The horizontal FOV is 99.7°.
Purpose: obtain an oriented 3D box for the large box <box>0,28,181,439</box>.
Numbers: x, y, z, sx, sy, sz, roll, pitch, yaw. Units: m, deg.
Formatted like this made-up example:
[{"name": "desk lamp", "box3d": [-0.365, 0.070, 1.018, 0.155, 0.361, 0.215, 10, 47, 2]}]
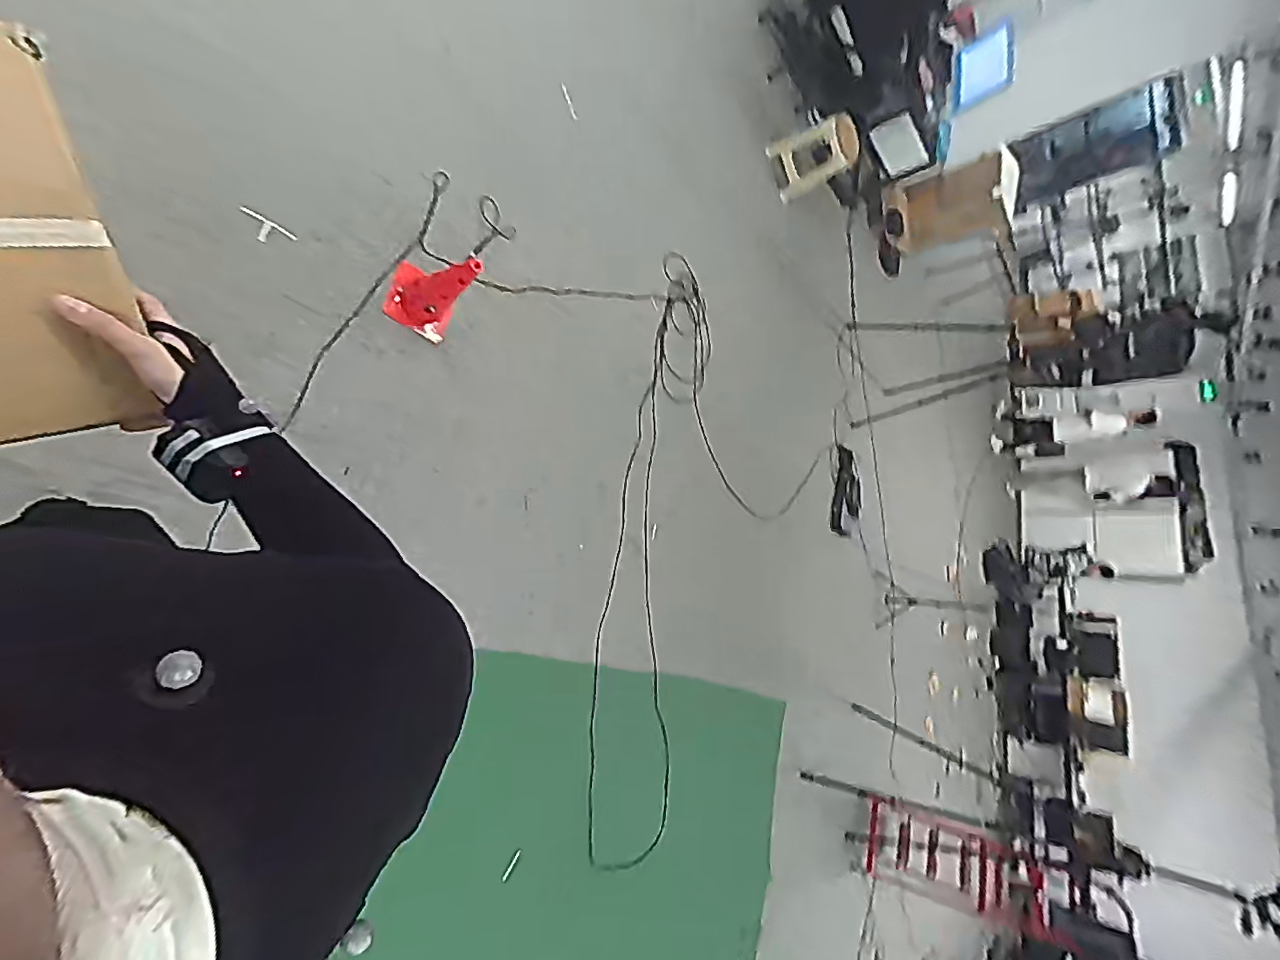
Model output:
[{"name": "large box", "box3d": [-0.707, -0.167, 0.444, 0.408, 0.320, 0.320, -25, 113, -45]}]
